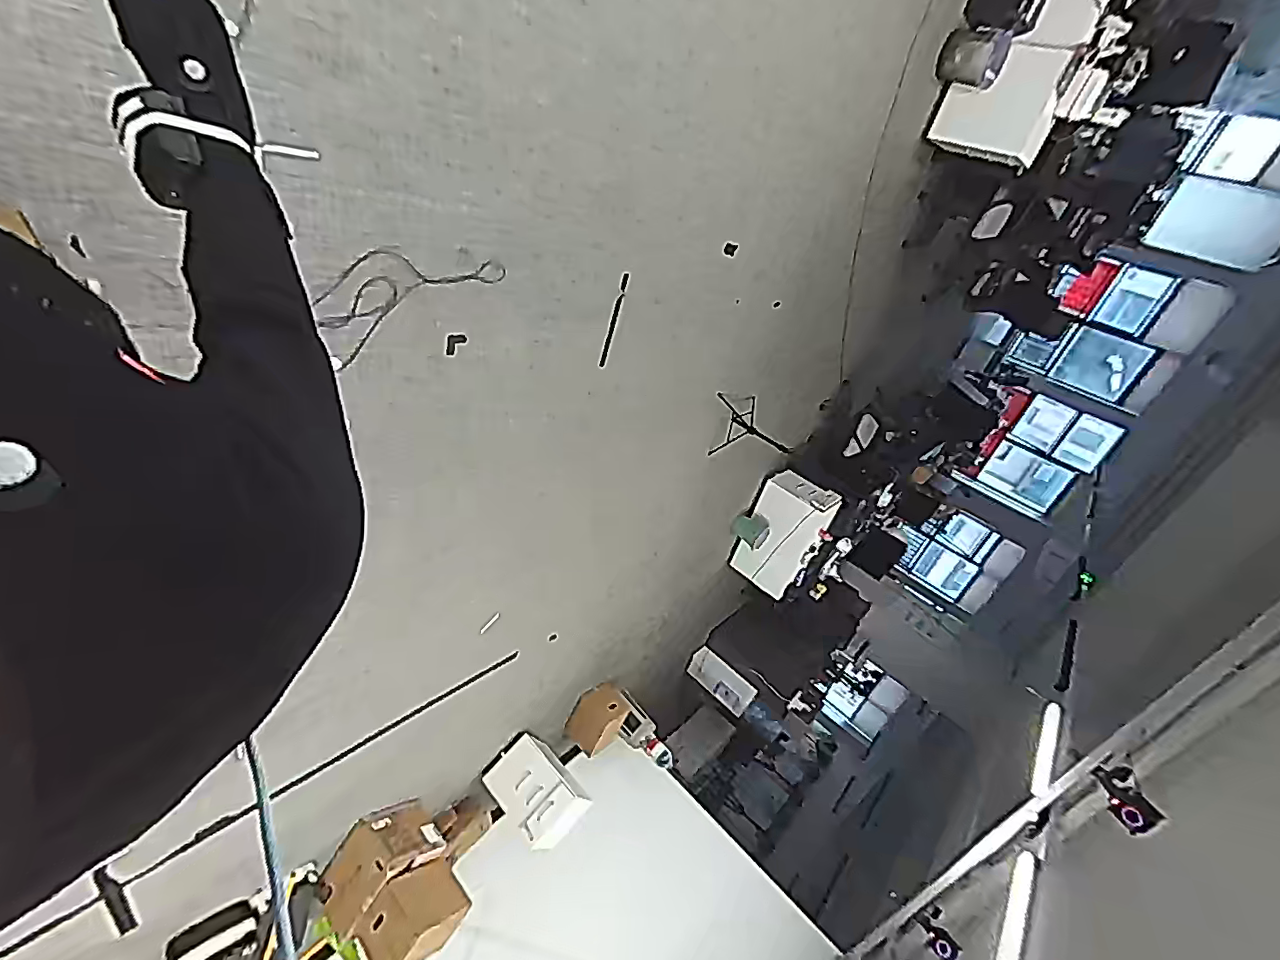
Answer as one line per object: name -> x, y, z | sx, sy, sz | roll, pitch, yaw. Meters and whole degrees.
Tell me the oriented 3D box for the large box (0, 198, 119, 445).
large box -> -1.164, -0.236, 0.837 | 0.408, 0.320, 0.320 | -28, 142, -41
